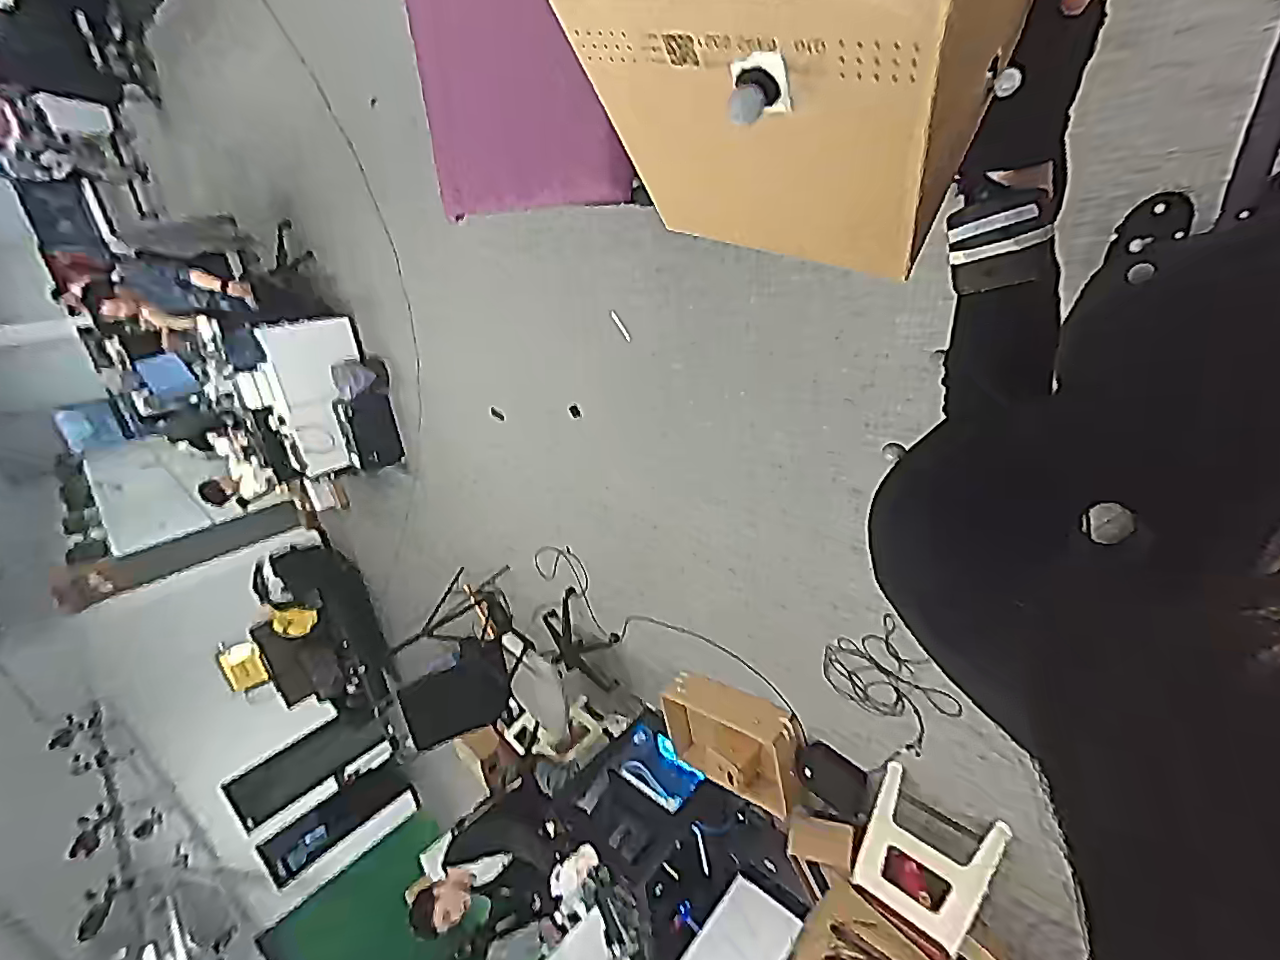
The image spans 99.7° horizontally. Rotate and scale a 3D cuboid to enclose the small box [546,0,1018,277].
[{"bbox_3d":[0.087,-0.240,0.277,0.168,0.176,0.179,25,87,29],"label":"small box"}]
